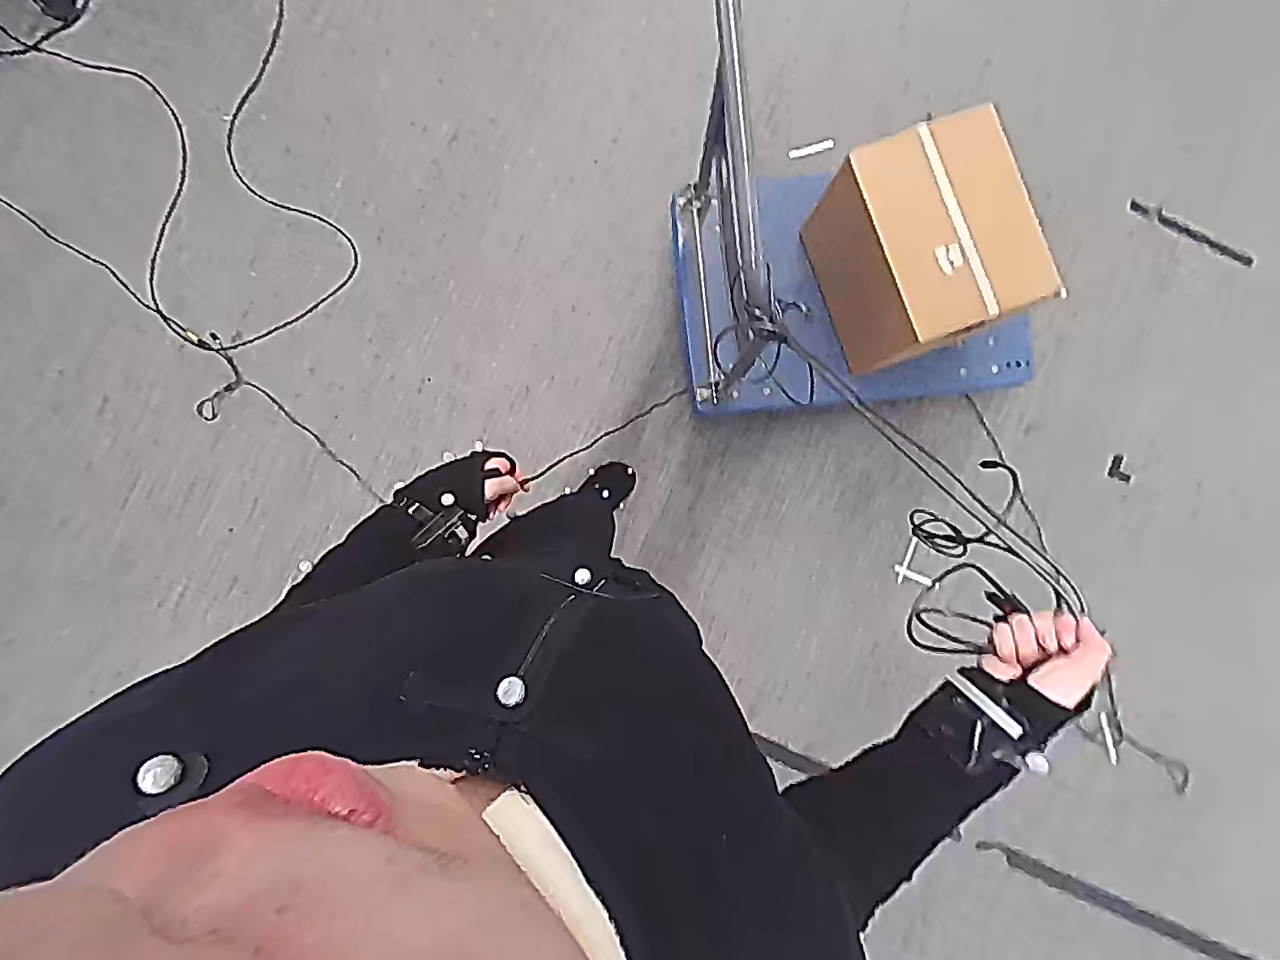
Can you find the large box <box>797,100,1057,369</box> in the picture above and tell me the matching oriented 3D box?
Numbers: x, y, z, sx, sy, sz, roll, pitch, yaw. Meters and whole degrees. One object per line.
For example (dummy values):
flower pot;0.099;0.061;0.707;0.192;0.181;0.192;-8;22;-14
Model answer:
large box;0.603;-0.513;1.205;0.320;0.320;0.408;-21;90;-1
